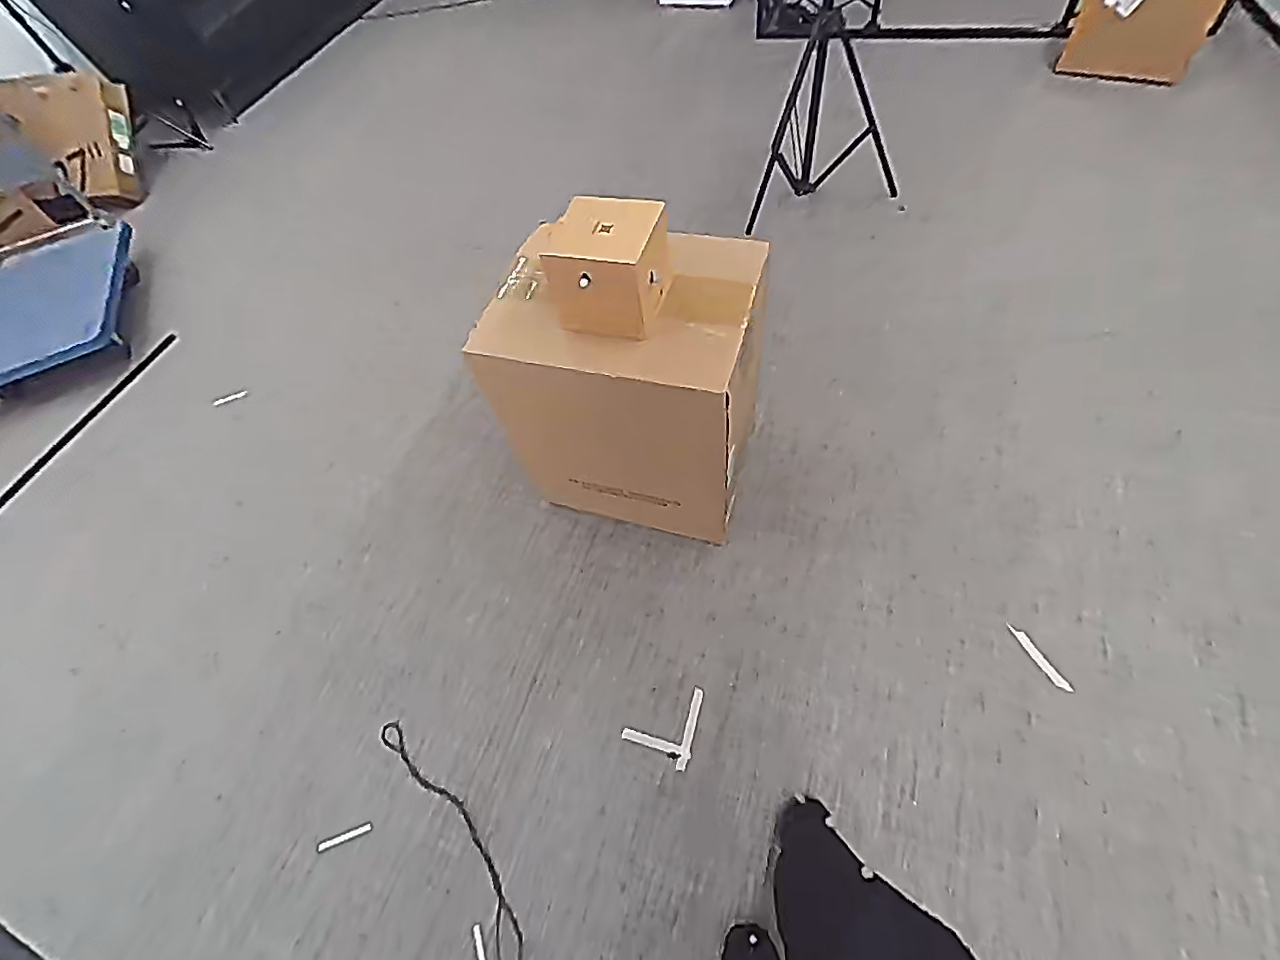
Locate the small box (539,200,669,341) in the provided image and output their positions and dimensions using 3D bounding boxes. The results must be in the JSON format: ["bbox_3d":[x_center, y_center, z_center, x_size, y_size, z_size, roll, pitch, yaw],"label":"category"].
[{"bbox_3d":[-0.053,-0.375,0.980,0.179,0.176,0.168,12,62,16],"label":"small box"}]
